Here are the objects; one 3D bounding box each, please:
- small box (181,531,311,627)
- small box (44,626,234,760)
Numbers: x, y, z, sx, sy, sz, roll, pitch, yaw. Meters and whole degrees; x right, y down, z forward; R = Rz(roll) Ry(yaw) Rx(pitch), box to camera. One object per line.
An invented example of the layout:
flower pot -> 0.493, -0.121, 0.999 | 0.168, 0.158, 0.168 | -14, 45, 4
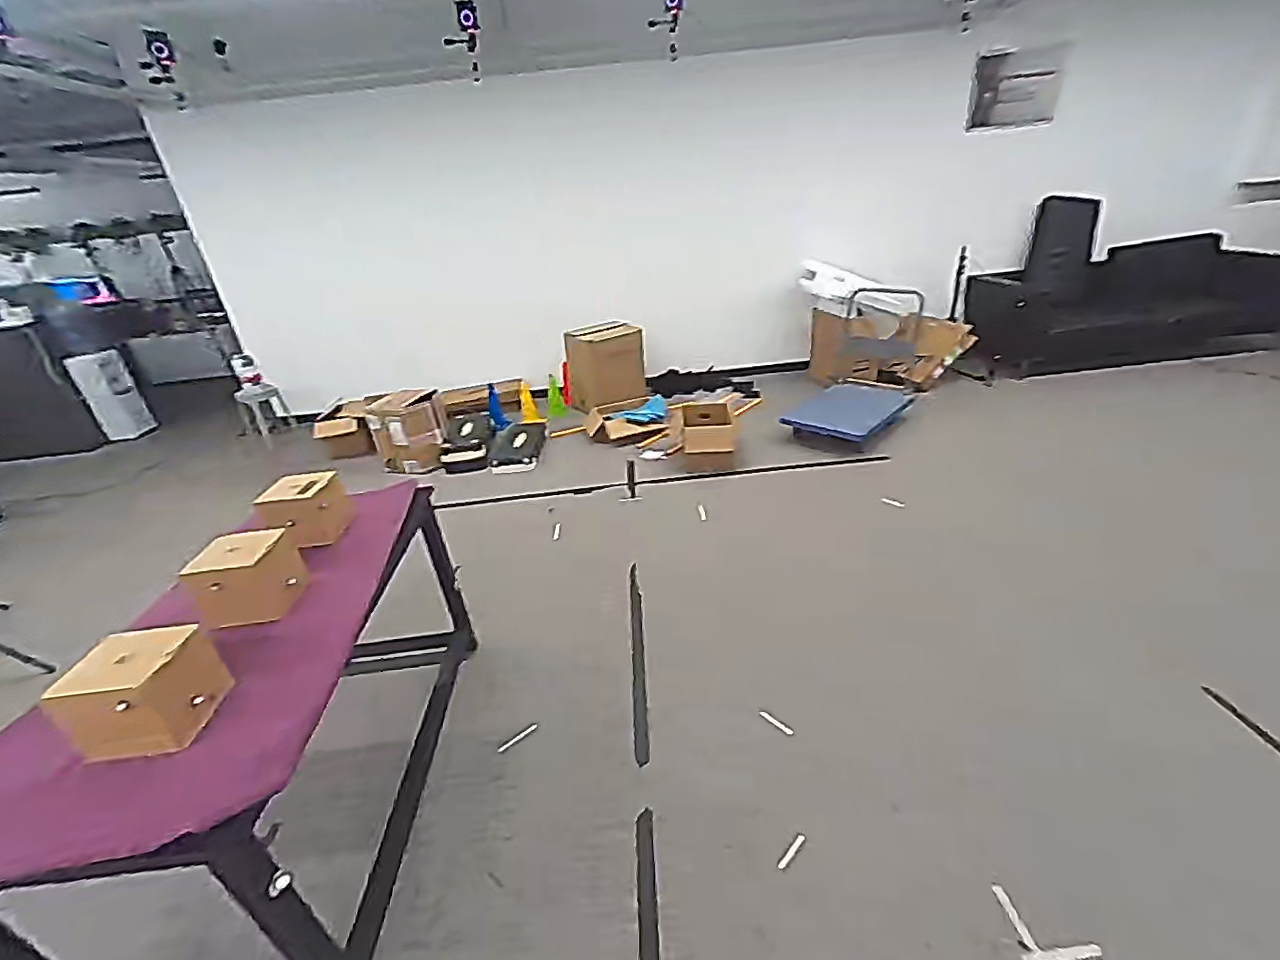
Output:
small box -> -0.973, 0.249, 1.353 | 0.179, 0.176, 0.168 | -7, 28, -2
small box -> -0.942, 0.410, 1.039 | 0.179, 0.176, 0.168 | -7, 26, -3
